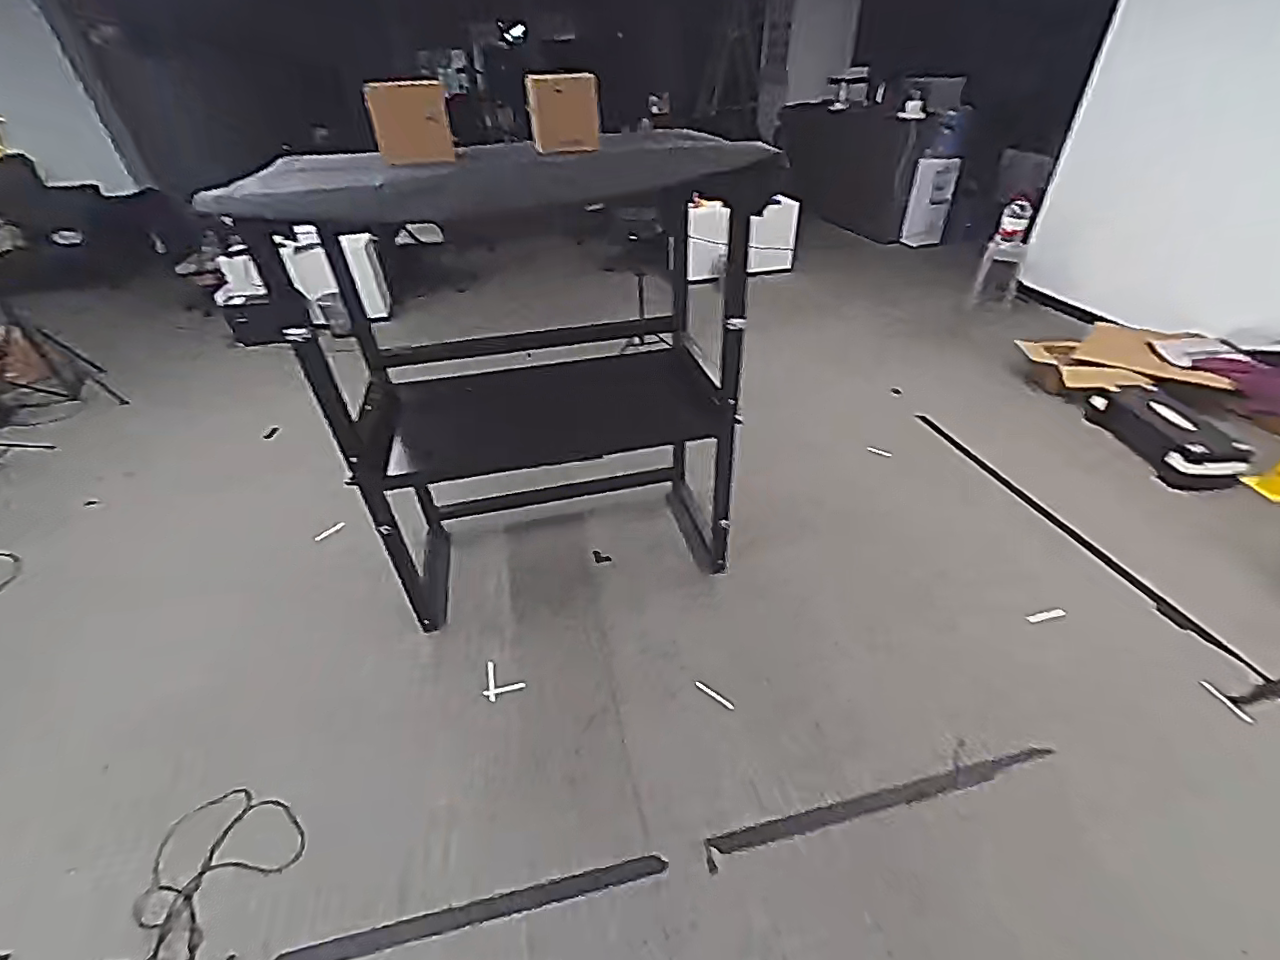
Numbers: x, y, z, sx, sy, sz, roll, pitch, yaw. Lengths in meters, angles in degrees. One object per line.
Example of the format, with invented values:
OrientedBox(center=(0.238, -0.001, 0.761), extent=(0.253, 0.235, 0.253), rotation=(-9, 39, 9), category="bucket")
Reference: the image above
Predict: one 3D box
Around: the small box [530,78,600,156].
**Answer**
OrientedBox(center=(-0.209, -1.008, 1.503), extent=(0.168, 0.176, 0.179), rotation=(-11, 38, -10), category="small box")
